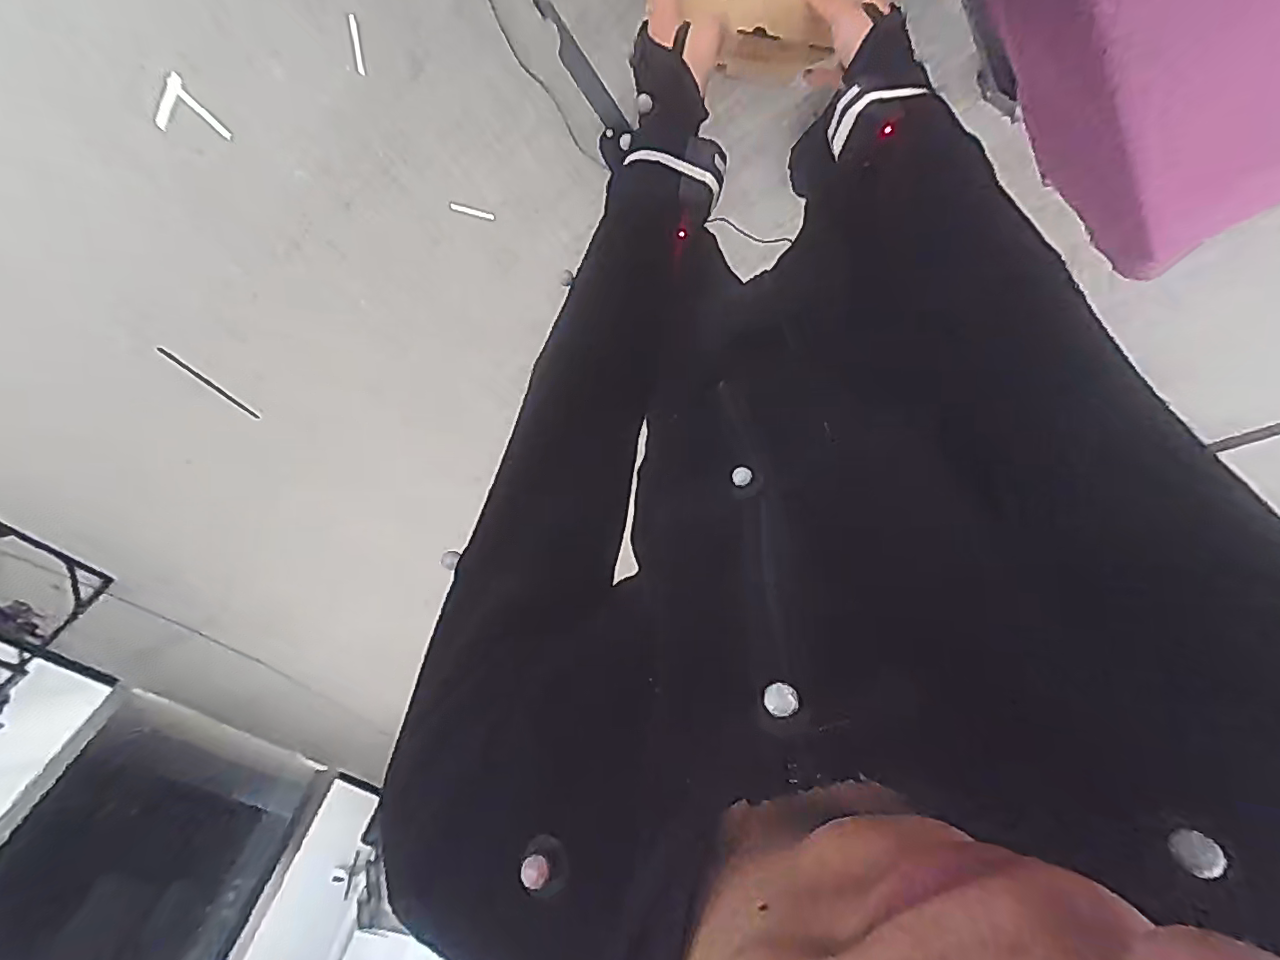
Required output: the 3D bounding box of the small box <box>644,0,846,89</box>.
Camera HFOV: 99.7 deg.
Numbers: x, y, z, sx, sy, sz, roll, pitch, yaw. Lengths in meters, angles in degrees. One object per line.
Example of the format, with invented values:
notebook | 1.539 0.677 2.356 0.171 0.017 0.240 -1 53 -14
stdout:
small box | 0.102 -0.522 0.541 0.168 0.176 0.179 1 117 -11
